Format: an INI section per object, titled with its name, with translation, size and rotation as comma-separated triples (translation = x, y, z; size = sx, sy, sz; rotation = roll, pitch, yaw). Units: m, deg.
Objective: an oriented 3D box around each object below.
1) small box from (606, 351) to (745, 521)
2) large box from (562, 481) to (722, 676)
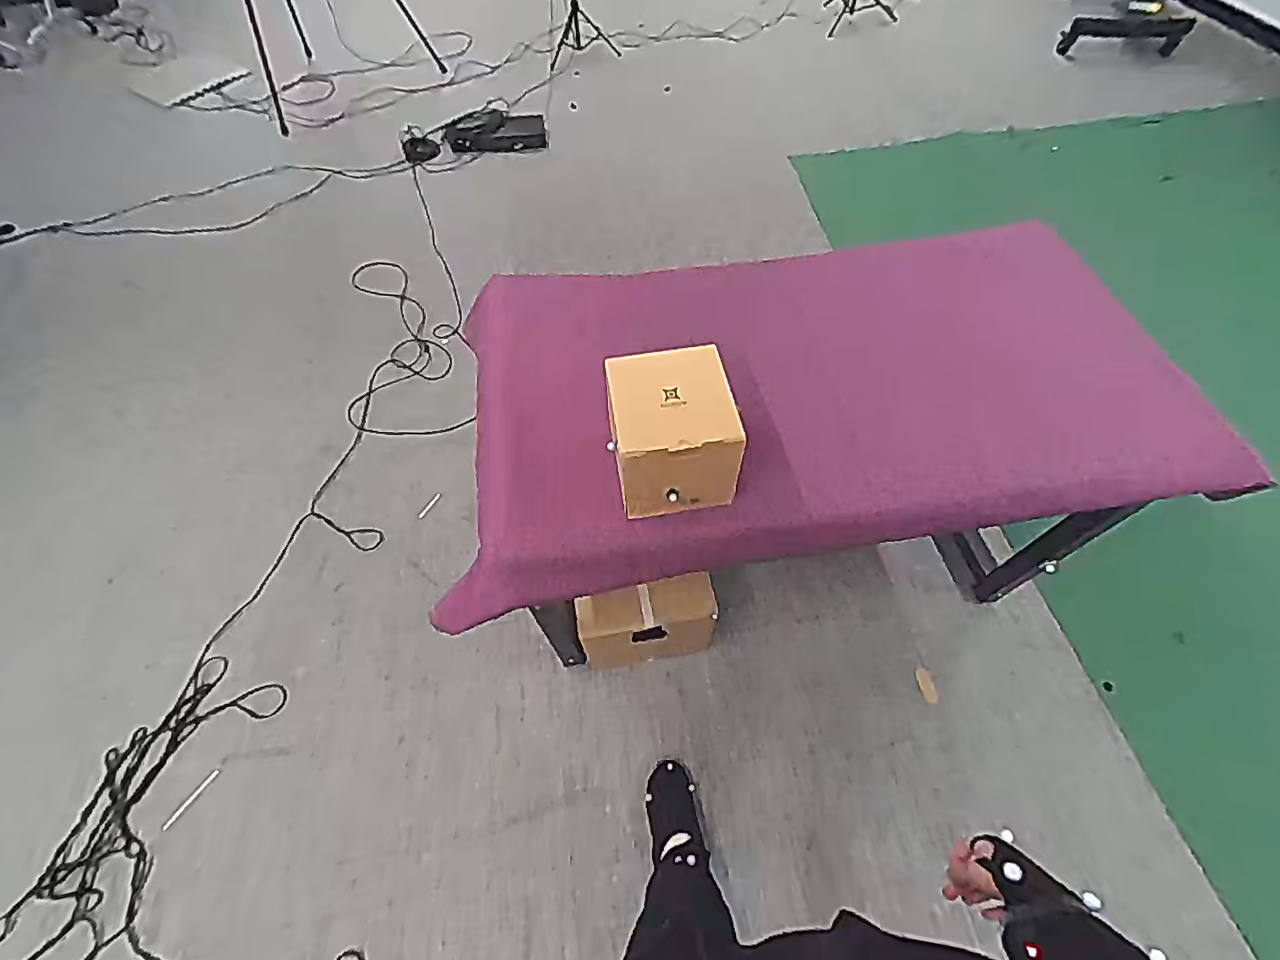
[small box]
translation = 0.044, -0.061, 0.799
size = 0.168, 0.176, 0.179
rotation = -9, 57, -4
[large box]
translation = -0.006, 0.244, 1.391
size = 0.320, 0.320, 0.408
rotation = -10, 59, -4
